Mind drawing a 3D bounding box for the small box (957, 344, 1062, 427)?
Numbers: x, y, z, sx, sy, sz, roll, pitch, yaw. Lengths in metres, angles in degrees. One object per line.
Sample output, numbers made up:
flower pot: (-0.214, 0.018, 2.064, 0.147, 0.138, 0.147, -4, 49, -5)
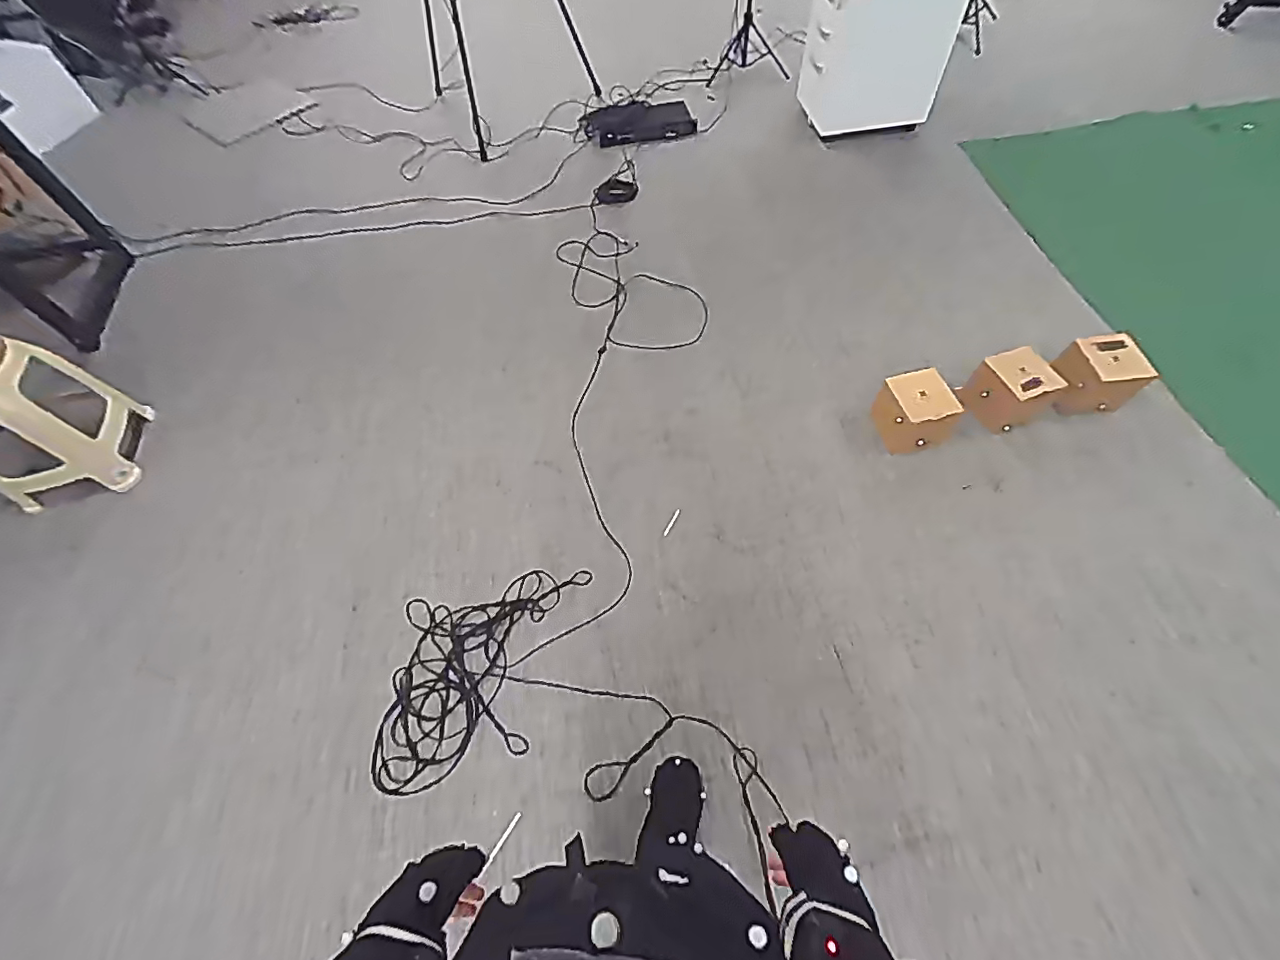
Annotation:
small box: (1.132, -0.284, 1.674, 0.168, 0.176, 0.179, -17, 59, -7)

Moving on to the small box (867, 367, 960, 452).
small box: (0.823, -0.213, 1.651, 0.168, 0.176, 0.179, -14, 60, -4)
